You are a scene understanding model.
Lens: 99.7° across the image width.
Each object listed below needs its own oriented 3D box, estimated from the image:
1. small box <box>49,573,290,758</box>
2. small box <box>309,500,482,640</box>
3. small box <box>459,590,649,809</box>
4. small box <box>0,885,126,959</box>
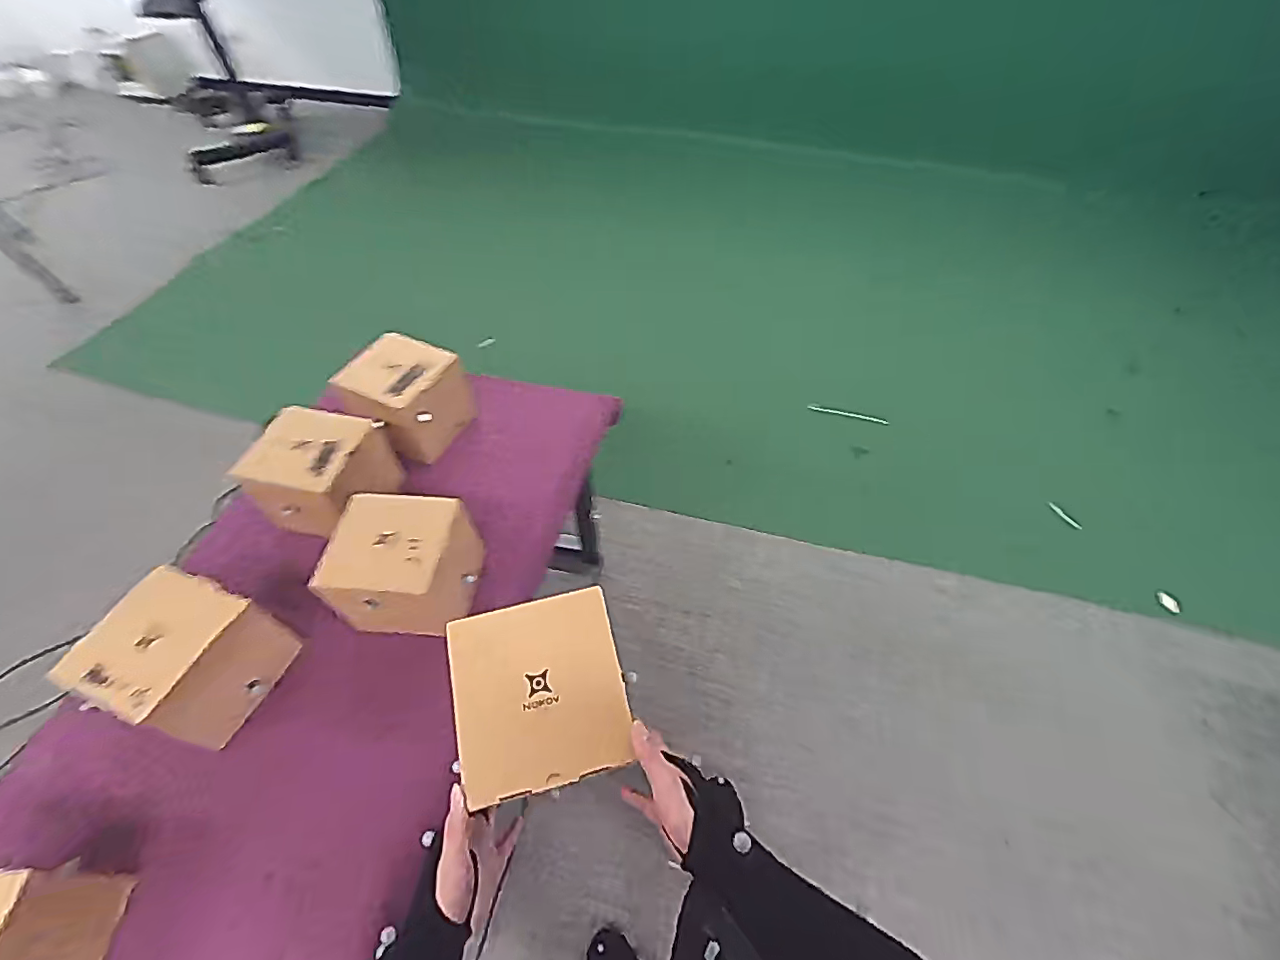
[{"bbox_3d":[-0.653,0.270,0.785,0.168,0.176,0.179,18,54,13],"label":"small box"},{"bbox_3d":[-0.380,0.149,0.876,0.179,0.176,0.168,3,53,4],"label":"small box"},{"bbox_3d":[-0.093,0.243,0.603,0.168,0.176,0.179,-12,65,-8],"label":"small box"},{"bbox_3d":[-0.722,0.543,0.576,0.168,0.176,0.179,0,52,-2],"label":"small box"}]
